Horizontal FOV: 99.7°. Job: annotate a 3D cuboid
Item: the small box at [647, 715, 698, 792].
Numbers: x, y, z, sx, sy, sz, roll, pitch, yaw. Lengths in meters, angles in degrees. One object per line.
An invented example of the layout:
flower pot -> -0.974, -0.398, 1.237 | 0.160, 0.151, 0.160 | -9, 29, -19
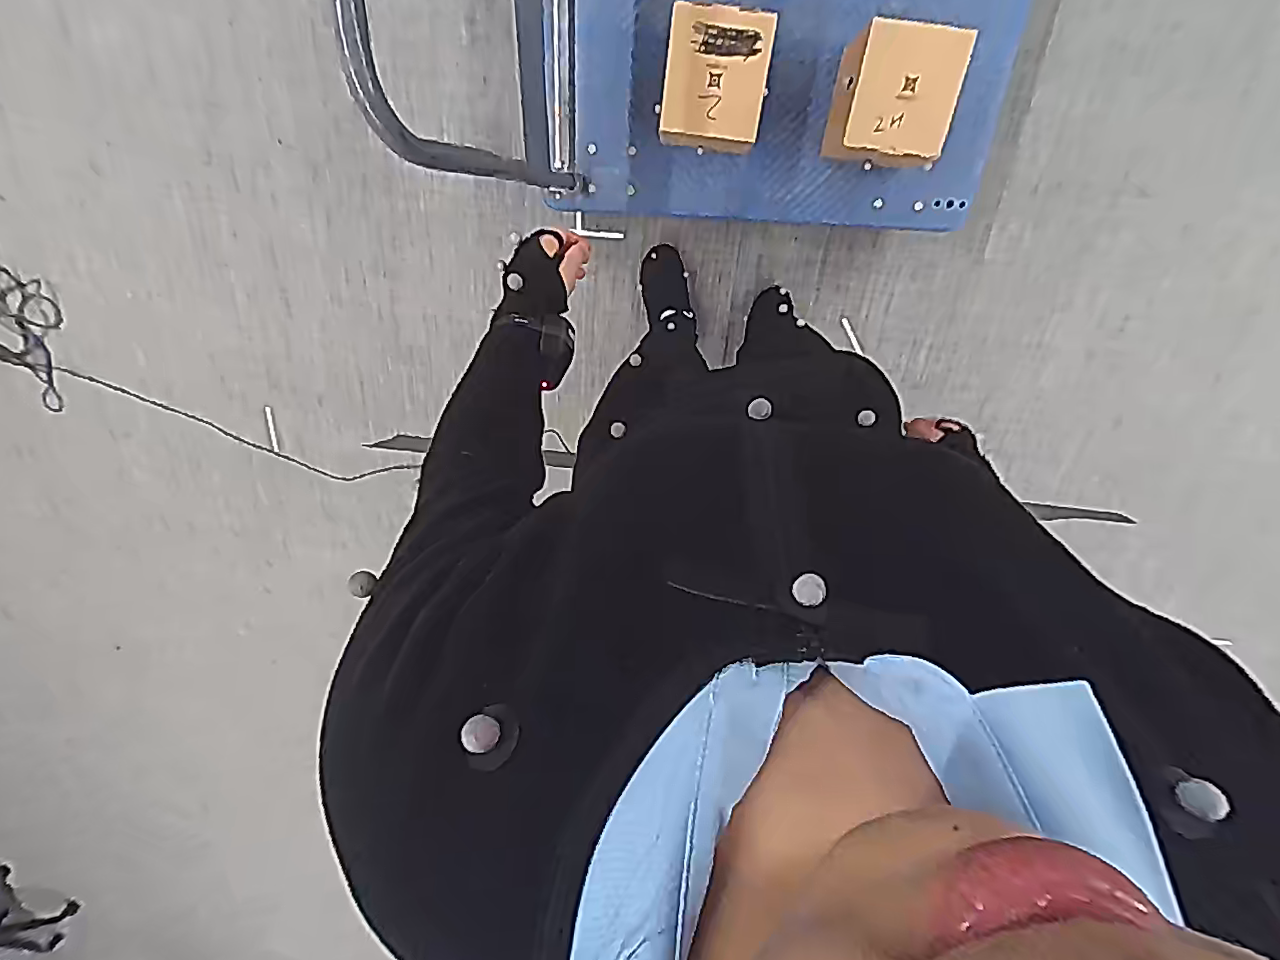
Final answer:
small box -> 0.116, 0.975, 1.929 | 0.168, 0.176, 0.179 | 4, 114, 1

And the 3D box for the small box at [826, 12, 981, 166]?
small box -> 0.440, -0.664, 0.939 | 0.168, 0.176, 0.179 | 8, 115, 0
